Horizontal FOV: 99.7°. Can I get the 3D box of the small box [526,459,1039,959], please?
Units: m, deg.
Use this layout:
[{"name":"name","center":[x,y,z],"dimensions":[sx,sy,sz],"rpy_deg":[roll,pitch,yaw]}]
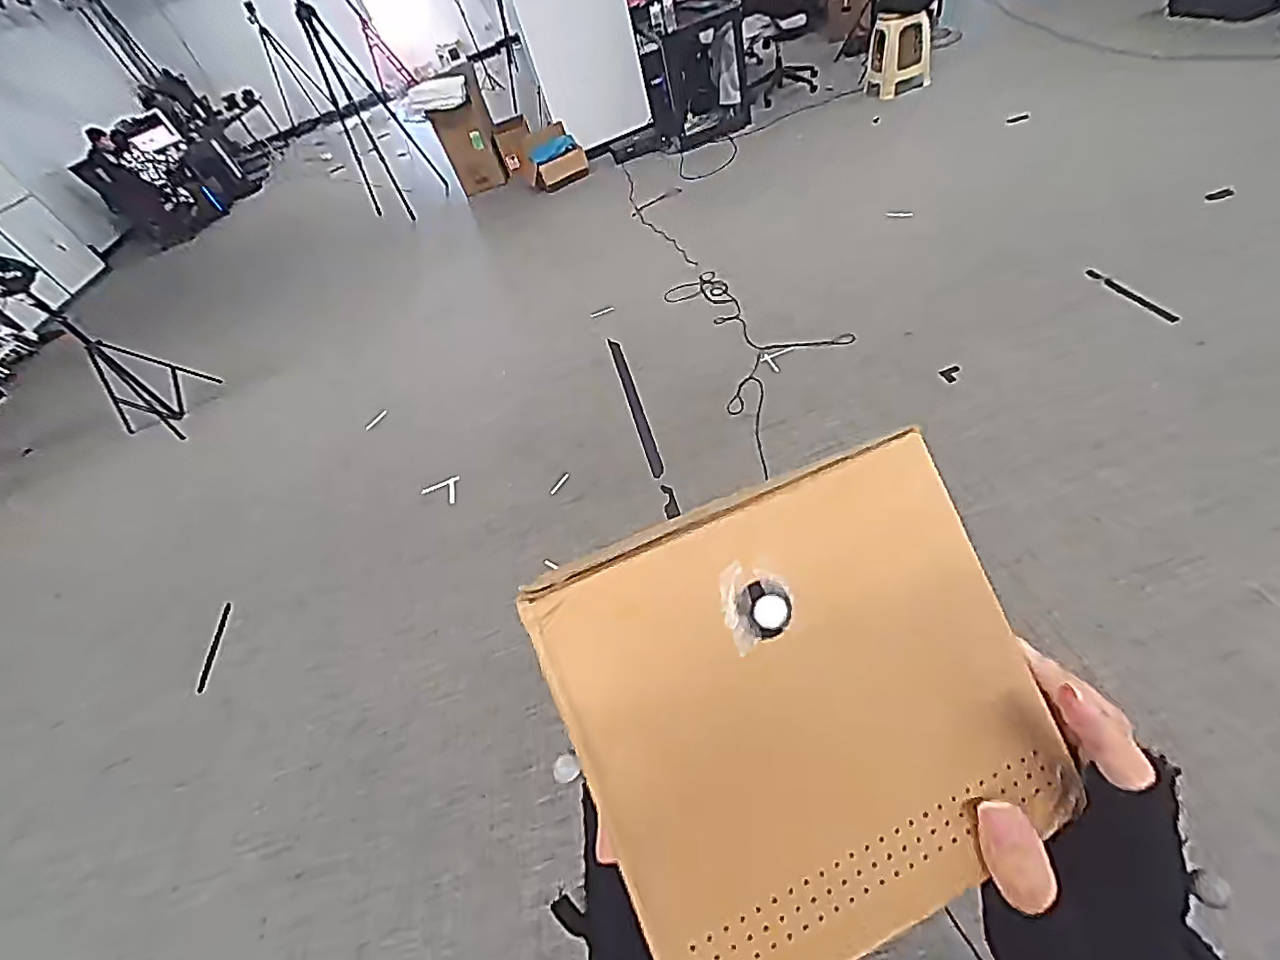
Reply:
[{"name":"small box","center":[0.058,0.109,0.294],"dimensions":[0.179,0.168,0.176],"rpy_deg":[-22,85,-9]}]
